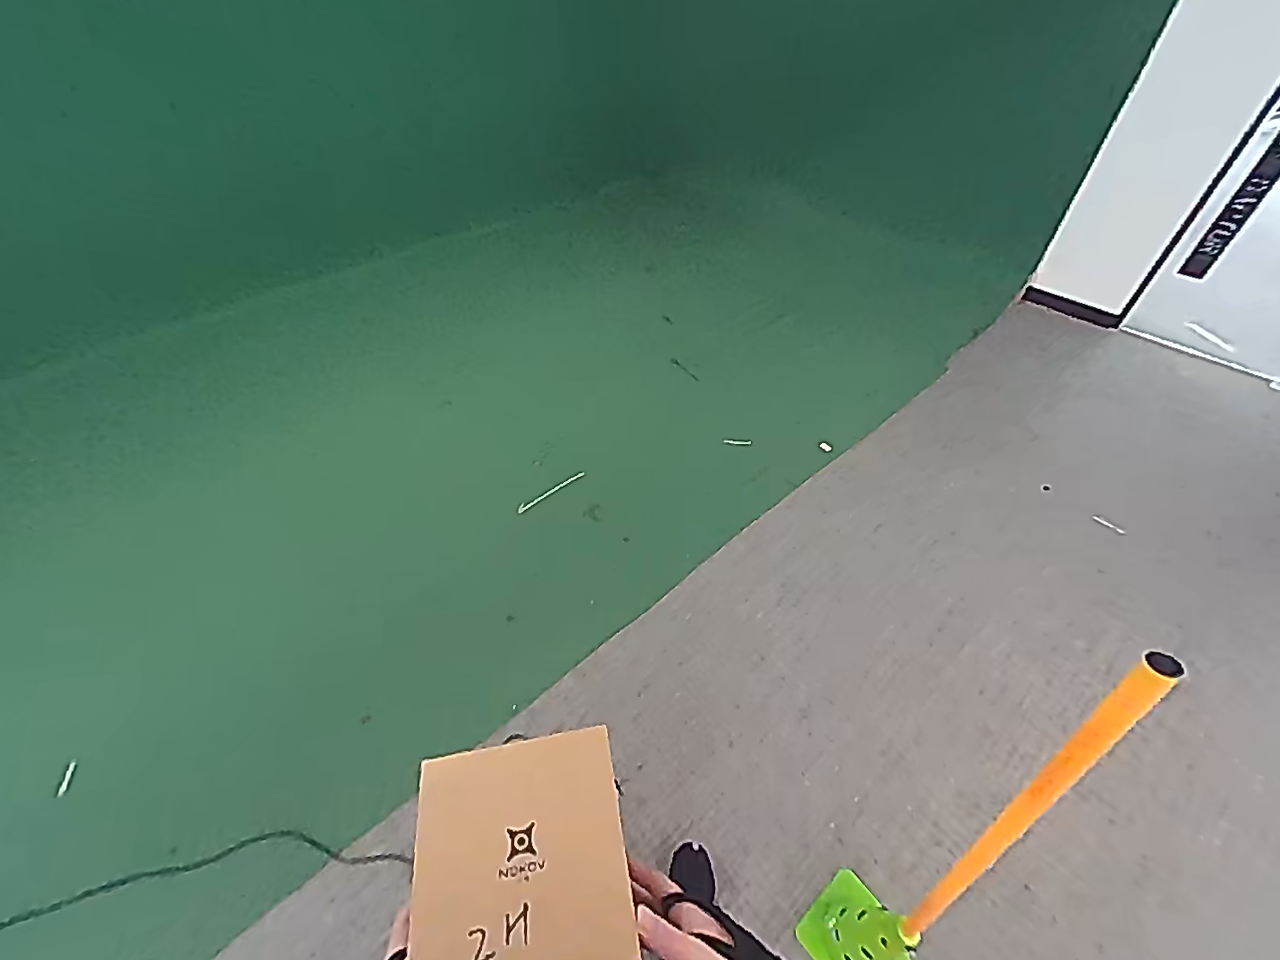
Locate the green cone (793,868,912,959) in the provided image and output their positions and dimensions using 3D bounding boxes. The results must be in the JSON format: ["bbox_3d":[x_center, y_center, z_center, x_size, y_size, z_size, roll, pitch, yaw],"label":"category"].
[{"bbox_3d":[0.473,0.926,1.102,0.202,0.368,0.200,-33,54,-24],"label":"green cone"}]
